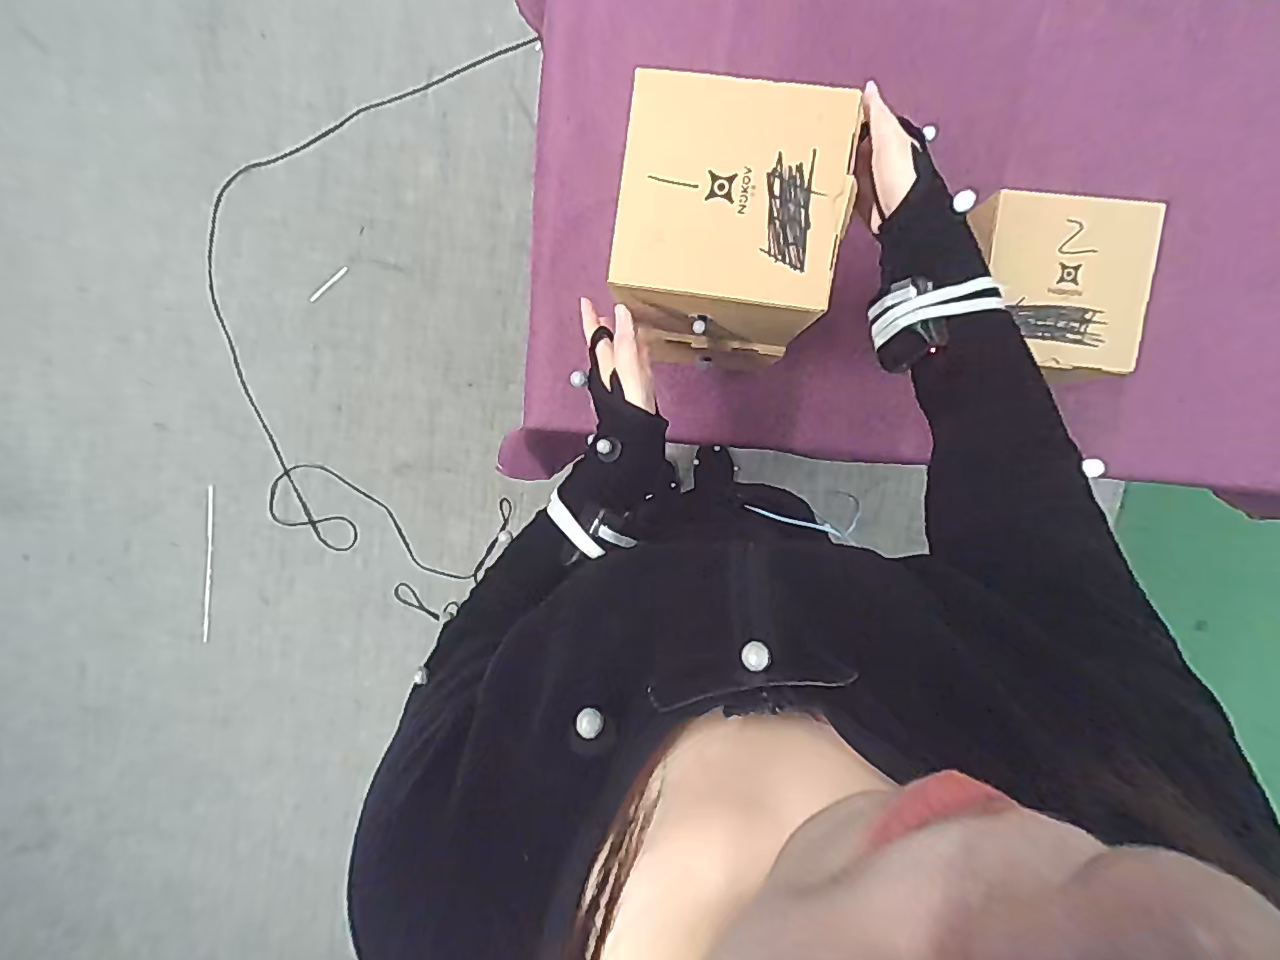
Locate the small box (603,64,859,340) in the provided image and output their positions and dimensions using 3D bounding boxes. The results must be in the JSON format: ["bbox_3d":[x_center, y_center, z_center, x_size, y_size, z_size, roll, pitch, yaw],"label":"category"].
[{"bbox_3d":[0.073,-0.232,0.498,0.179,0.176,0.168,9,96,3],"label":"small box"}]

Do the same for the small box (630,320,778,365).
[{"bbox_3d":[0.086,-0.243,0.663,0.168,0.176,0.179,8,97,2],"label":"small box"}]
